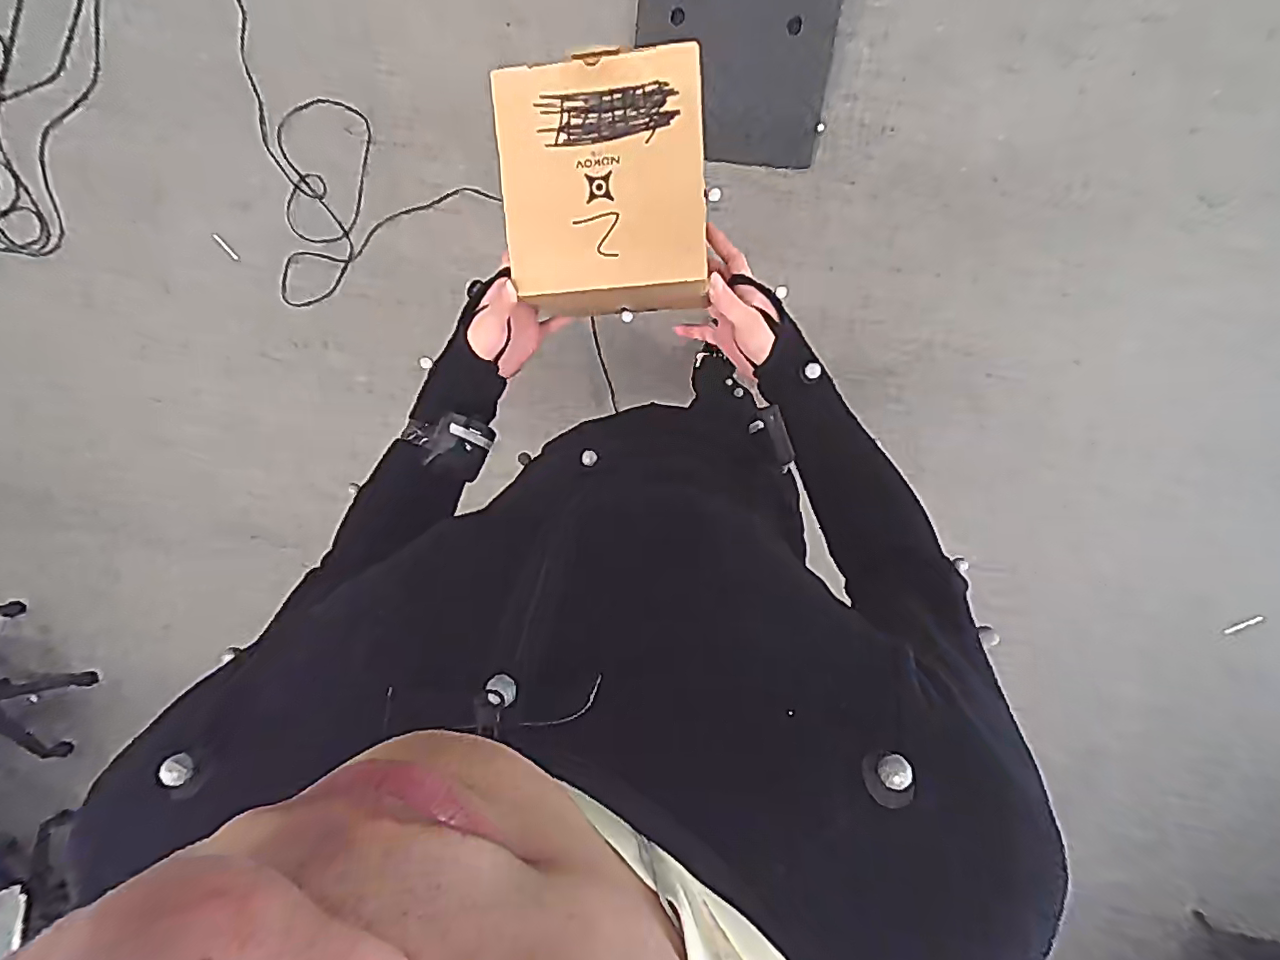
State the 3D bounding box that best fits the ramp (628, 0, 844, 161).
[{"bbox_3d":[0.255,-1.309,1.217,0.509,0.206,0.991,6,104,4],"label":"ramp"}]
